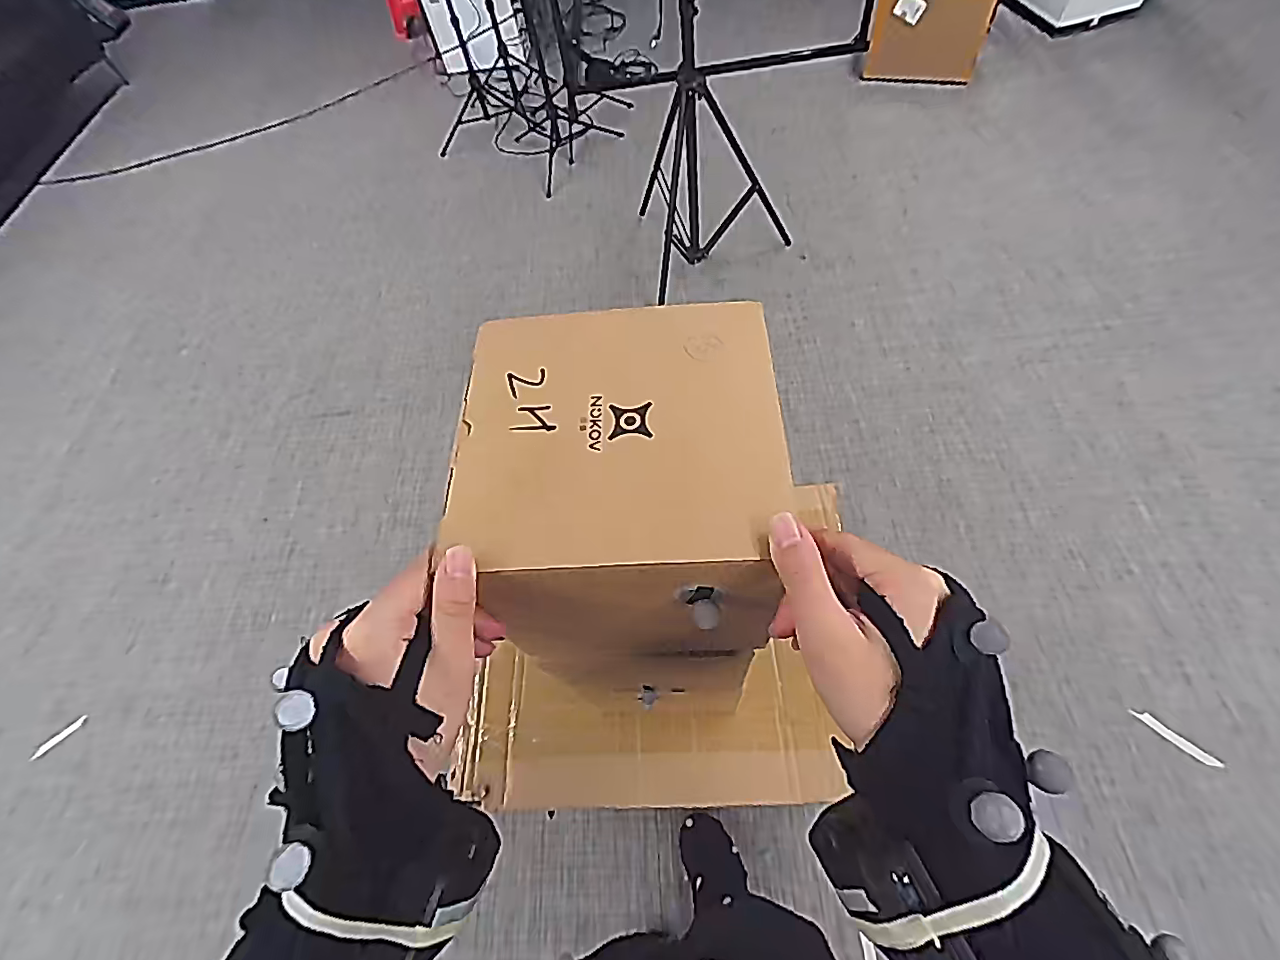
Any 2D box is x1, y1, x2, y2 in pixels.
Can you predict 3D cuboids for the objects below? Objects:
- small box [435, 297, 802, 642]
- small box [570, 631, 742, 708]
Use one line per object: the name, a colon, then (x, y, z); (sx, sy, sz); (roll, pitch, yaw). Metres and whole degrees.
small box: (-0.005, 0.005, 0.360); (0.179, 0.176, 0.168); (-3, 59, 5)
small box: (0.025, 0.173, 0.644); (0.179, 0.176, 0.168); (-3, 60, 5)
